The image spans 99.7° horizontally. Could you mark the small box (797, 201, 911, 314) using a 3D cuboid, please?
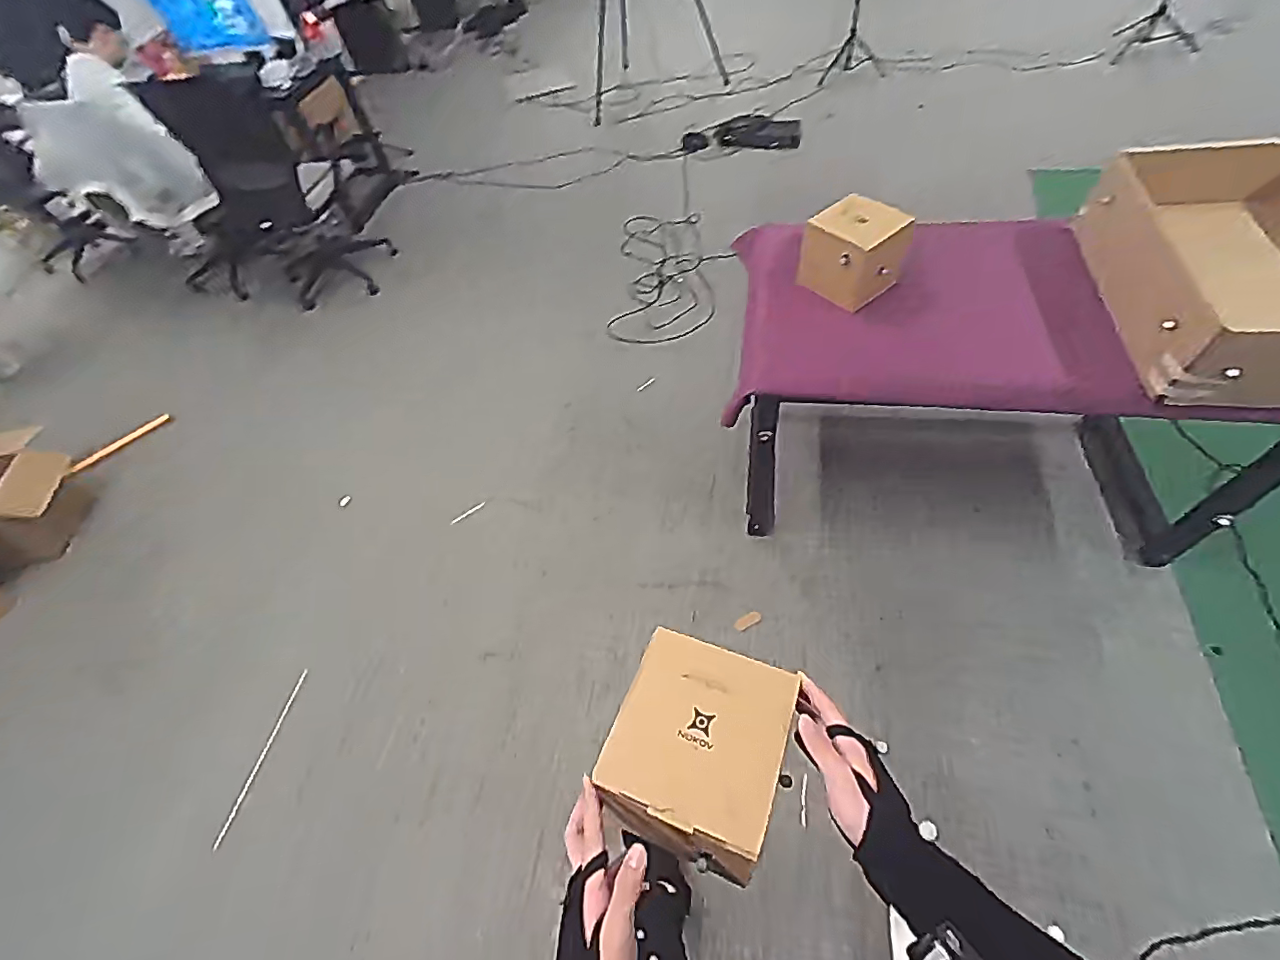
[{"bbox_3d":[0.499,-0.524,1.287,0.168,0.176,0.179,-35,57,-17],"label":"small box"}]
